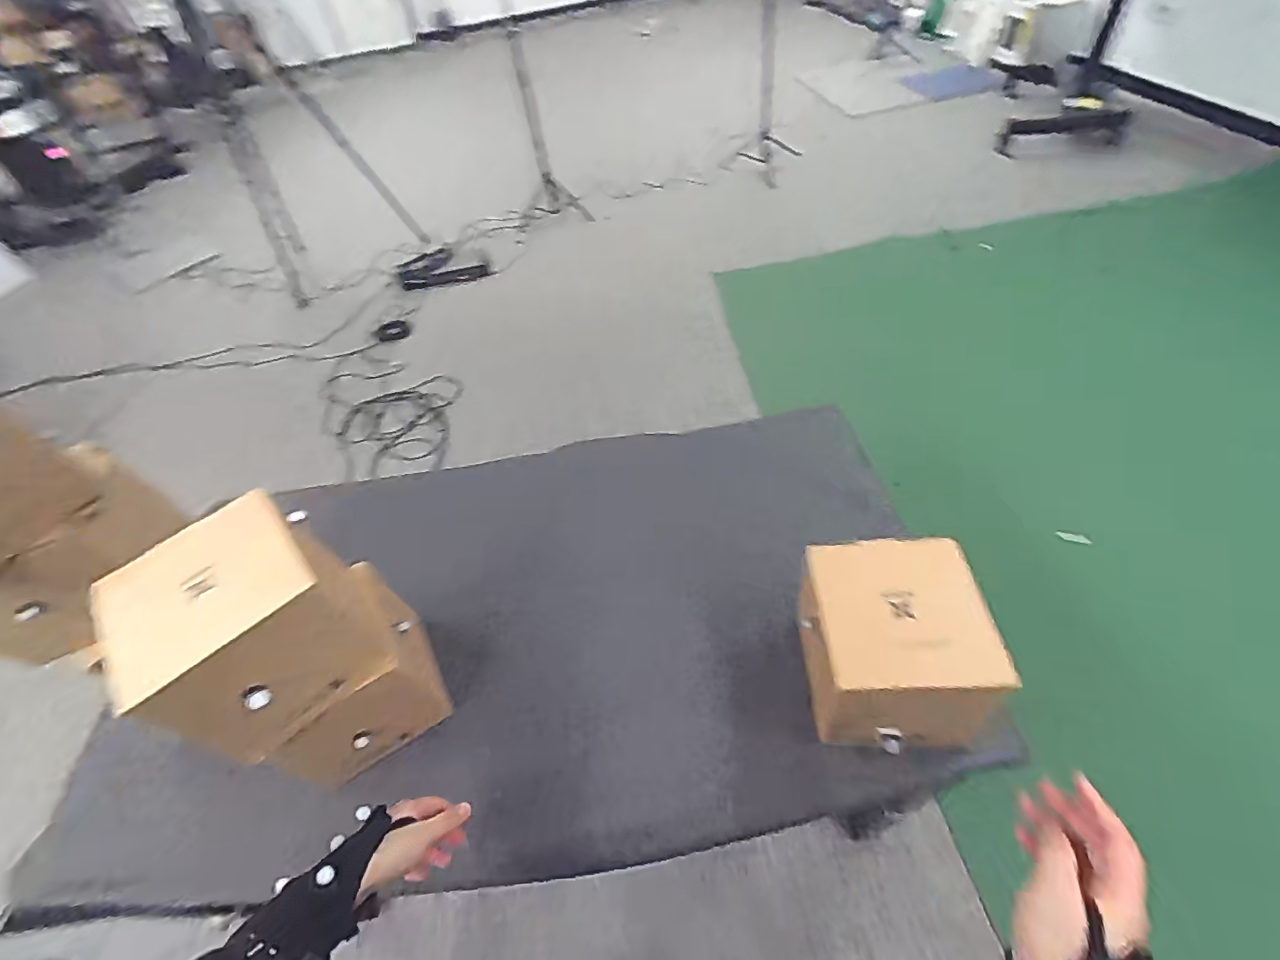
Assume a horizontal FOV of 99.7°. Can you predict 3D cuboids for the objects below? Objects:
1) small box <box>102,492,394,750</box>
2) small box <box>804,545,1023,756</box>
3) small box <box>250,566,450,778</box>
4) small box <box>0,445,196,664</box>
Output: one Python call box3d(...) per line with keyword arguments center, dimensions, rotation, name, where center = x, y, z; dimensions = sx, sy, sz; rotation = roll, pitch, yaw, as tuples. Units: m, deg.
box3d(center=(-0.394, 0.152, 0.566), dimensions=(0.168, 0.176, 0.179), rotation=(-38, 54, -22), name="small box")
box3d(center=(0.288, 0.196, 0.622), dimensions=(0.168, 0.176, 0.179), rotation=(-5, 46, 8), name="small box")
box3d(center=(-0.369, 0.251, 0.692), dimensions=(0.168, 0.176, 0.179), rotation=(-29, 51, -16), name="small box")
box3d(center=(-0.697, 0.094, 0.664), dimensions=(0.179, 0.176, 0.168), rotation=(-24, 51, -10), name="small box")
